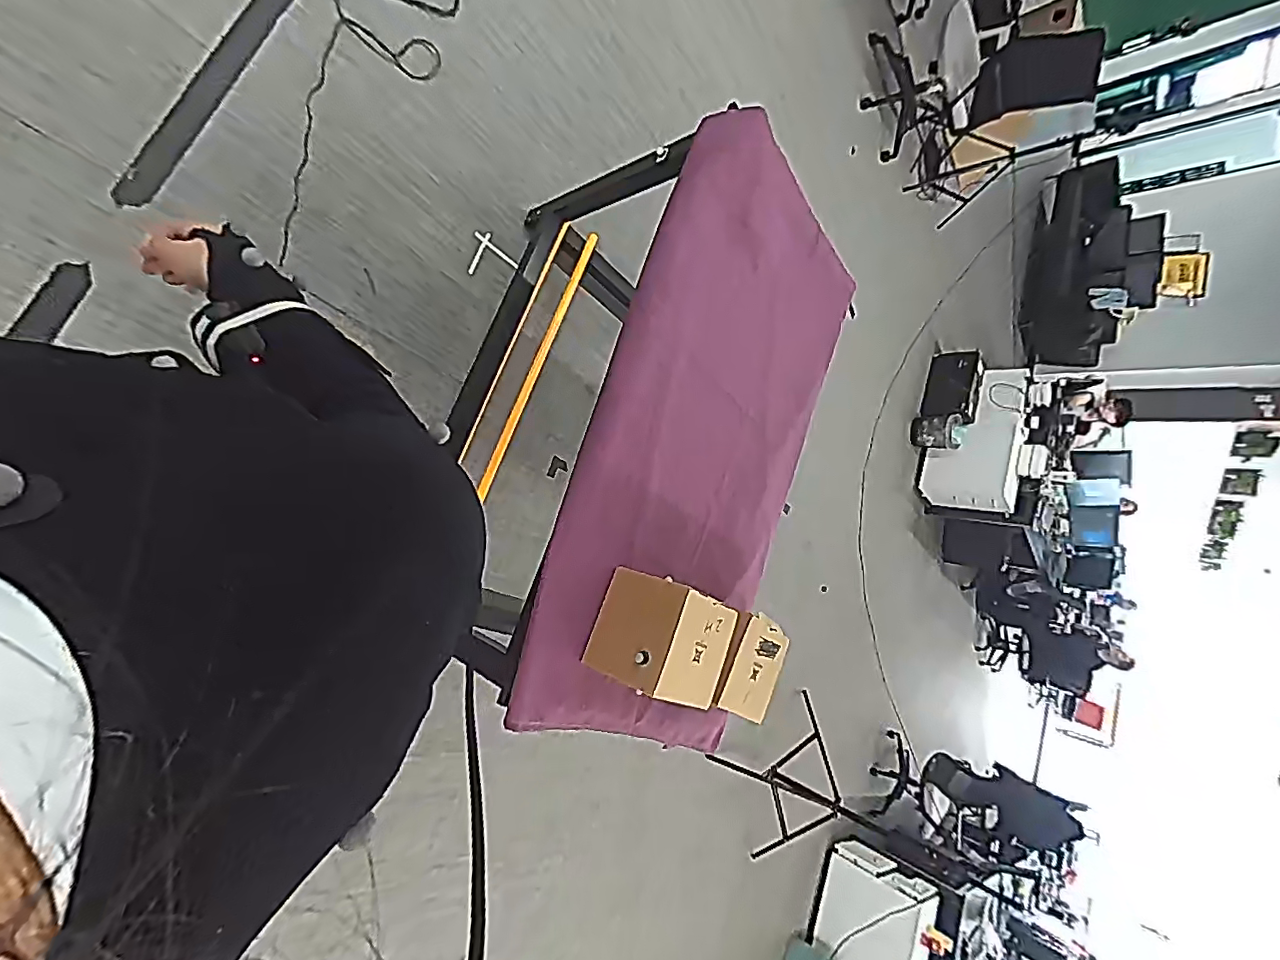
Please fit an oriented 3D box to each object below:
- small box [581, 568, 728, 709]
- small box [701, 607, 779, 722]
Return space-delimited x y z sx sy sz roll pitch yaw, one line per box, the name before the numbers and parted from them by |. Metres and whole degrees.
small box | 0.022 0.272 0.943 0.168 0.176 0.179 36 69 -45
small box | 0.145 0.350 1.081 0.168 0.176 0.179 40 68 -40
